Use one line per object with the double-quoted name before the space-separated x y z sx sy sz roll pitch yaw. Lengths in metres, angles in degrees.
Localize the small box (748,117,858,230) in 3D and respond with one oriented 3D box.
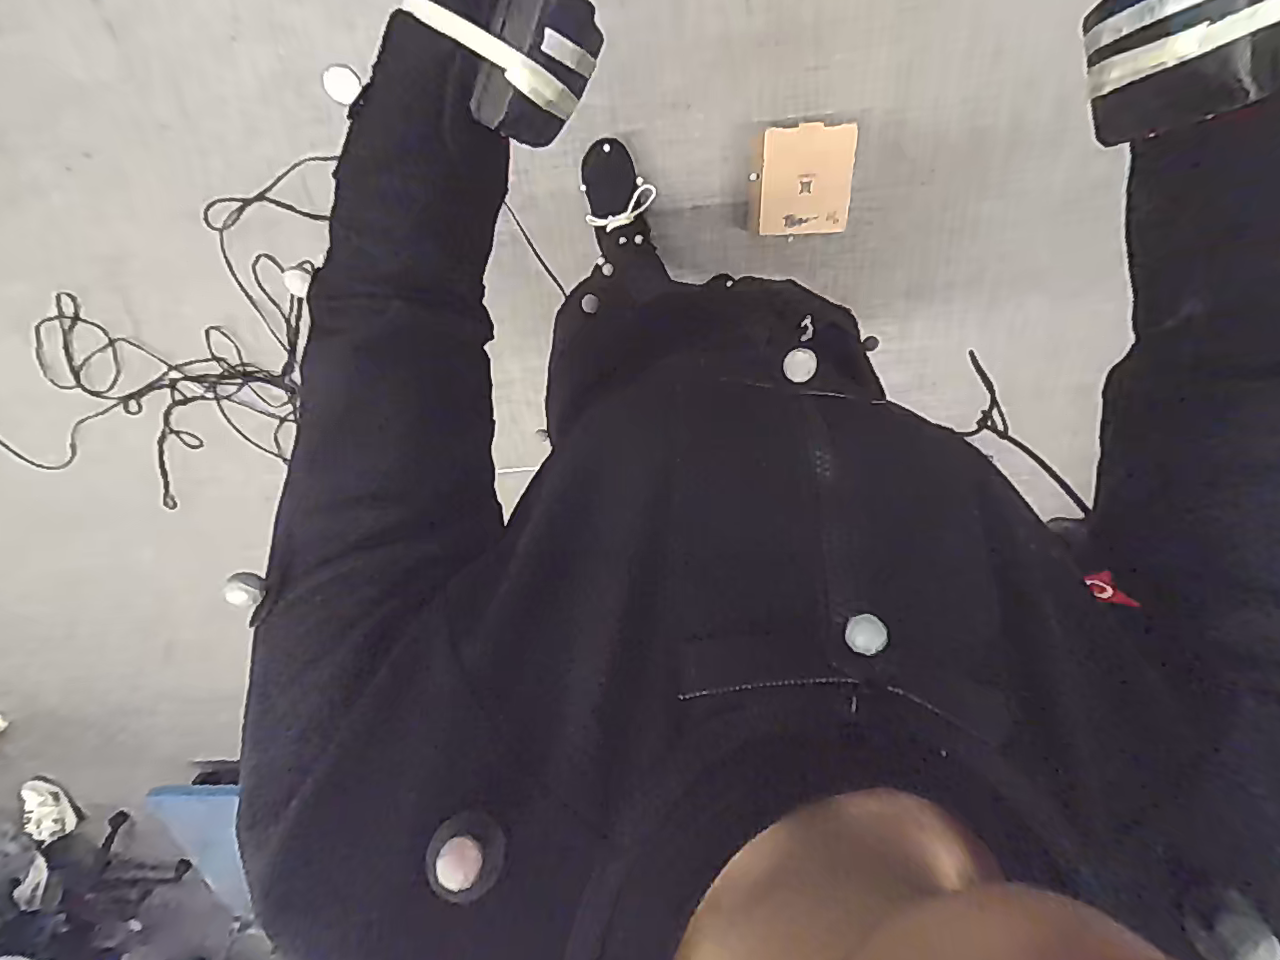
"small box" 0.306 -0.586 1.053 0.168 0.176 0.179 -1 116 3
